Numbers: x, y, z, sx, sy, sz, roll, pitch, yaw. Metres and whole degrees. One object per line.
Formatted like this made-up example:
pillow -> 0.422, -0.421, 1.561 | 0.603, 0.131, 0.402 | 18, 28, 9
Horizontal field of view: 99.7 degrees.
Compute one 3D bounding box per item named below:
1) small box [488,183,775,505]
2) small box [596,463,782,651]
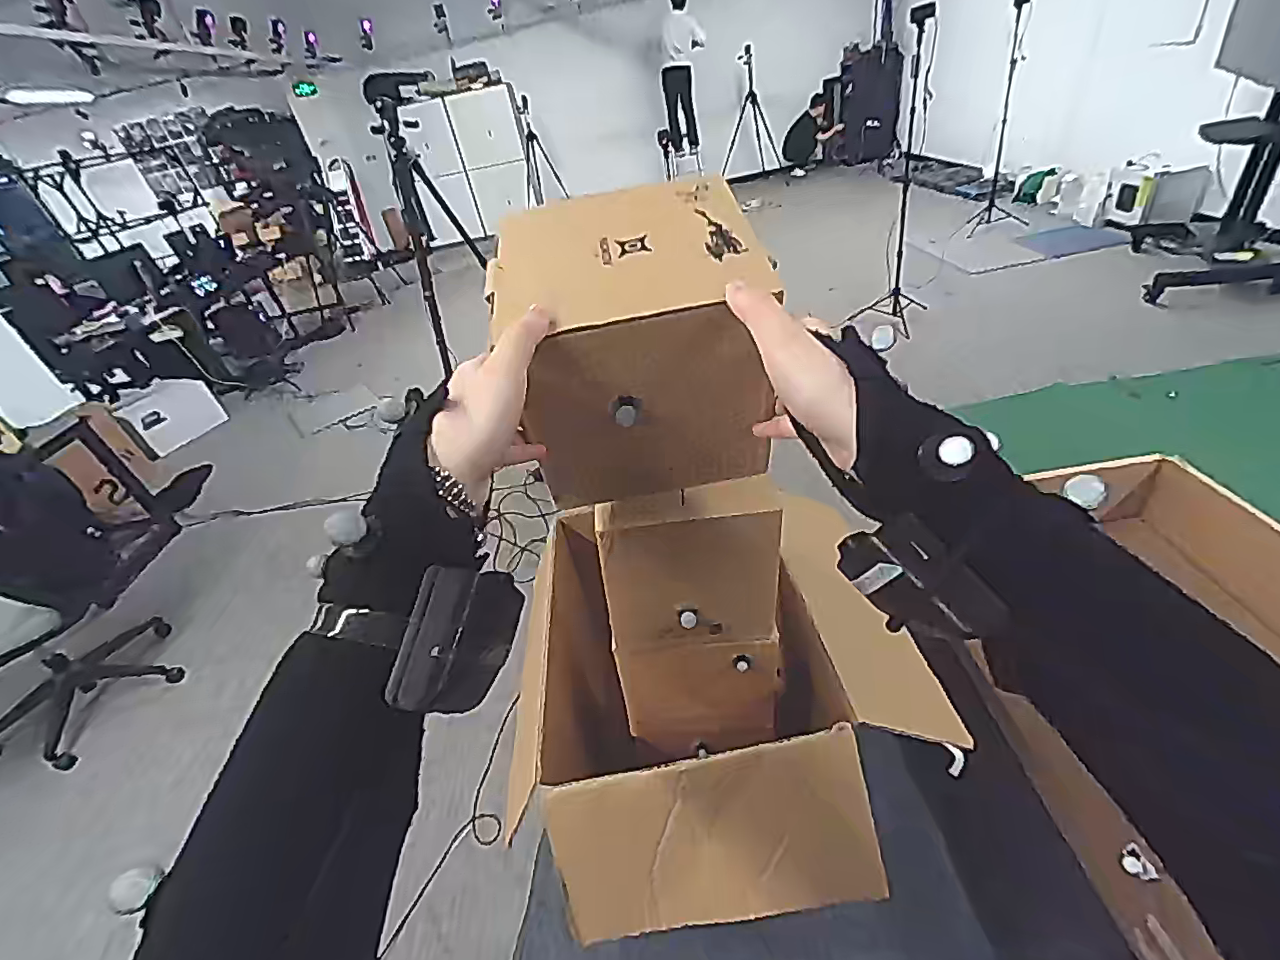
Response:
small box -> -0.002, -0.099, 0.425 | 0.179, 0.176, 0.168 | -11, 50, 2
small box -> 0.044, 0.055, 0.580 | 0.168, 0.176, 0.179 | -7, 35, 0
